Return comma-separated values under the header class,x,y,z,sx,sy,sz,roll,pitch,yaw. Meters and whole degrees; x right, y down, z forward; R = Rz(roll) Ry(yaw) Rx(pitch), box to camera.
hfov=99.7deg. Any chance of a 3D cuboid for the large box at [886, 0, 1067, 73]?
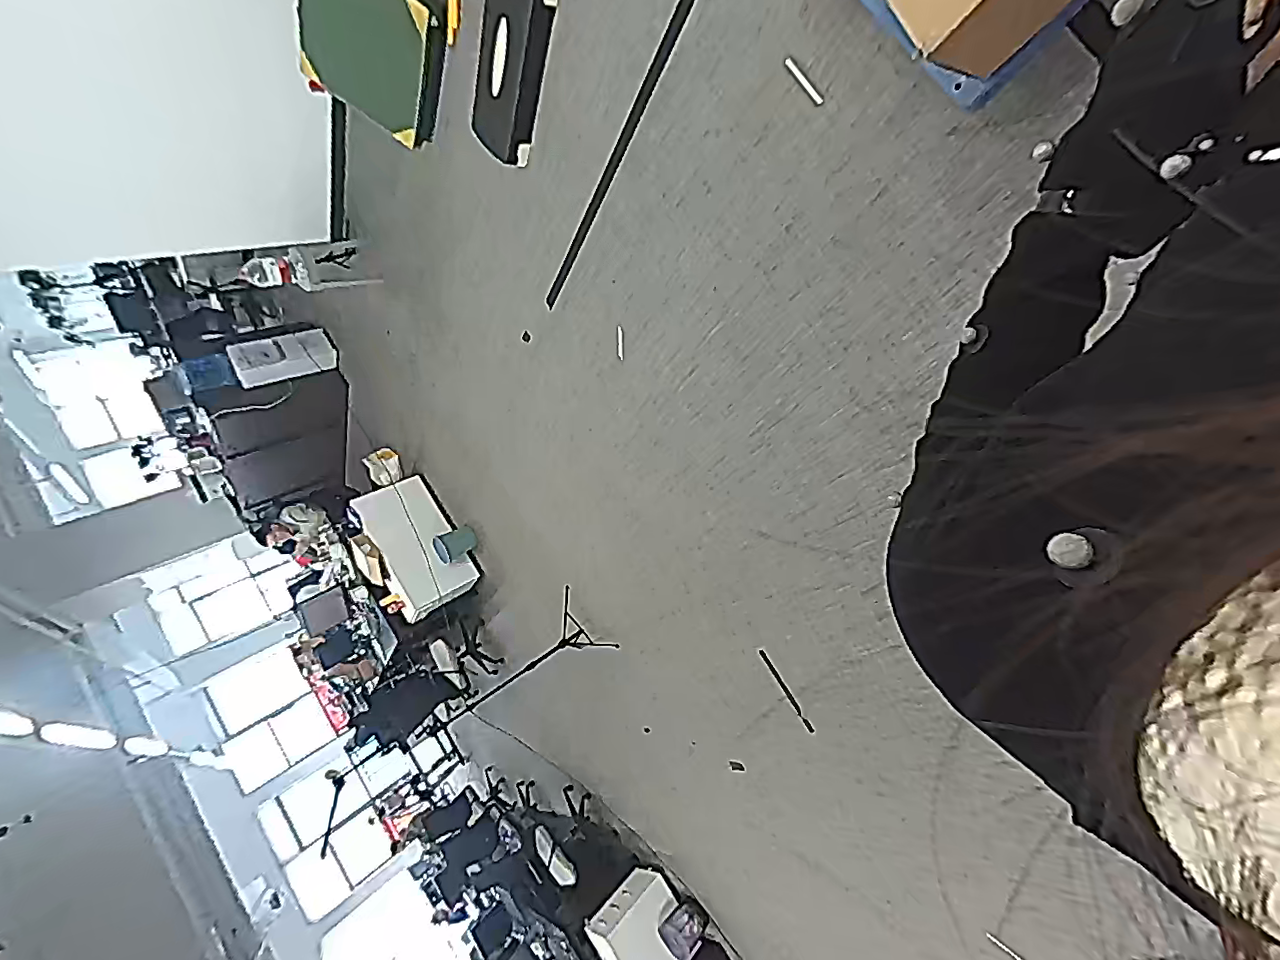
class,x,y,z,sx,sy,sz,roll,pitch,yaw
large box,0.552,-0.881,0.747,0.408,0.320,0.320,-35,83,52
